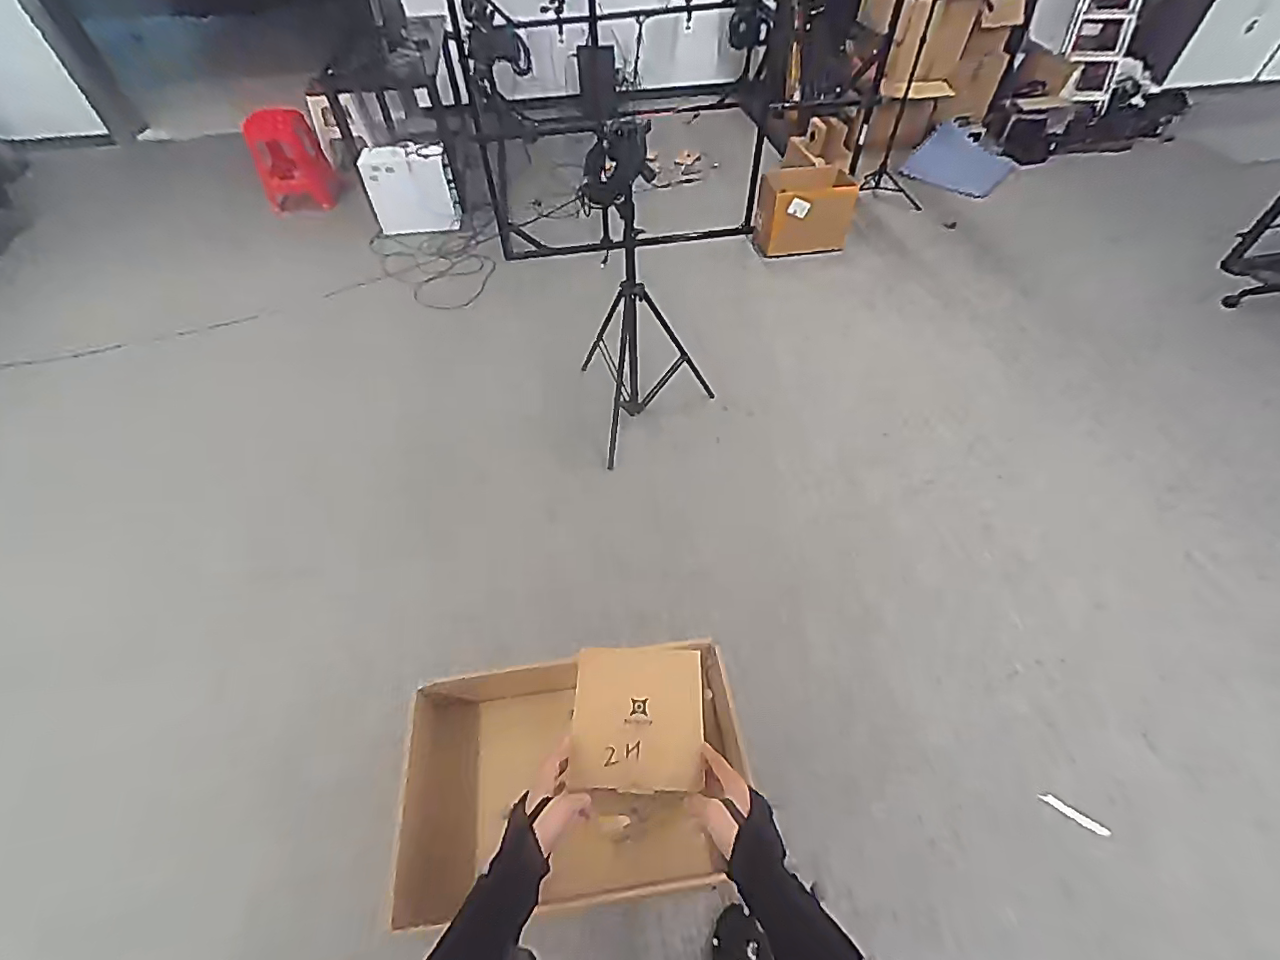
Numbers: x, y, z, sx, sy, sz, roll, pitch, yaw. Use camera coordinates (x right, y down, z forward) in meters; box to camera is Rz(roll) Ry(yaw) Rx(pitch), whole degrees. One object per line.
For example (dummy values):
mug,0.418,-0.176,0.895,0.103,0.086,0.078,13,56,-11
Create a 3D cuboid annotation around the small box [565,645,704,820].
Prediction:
small box,-0.004,0.346,0.743,0.168,0.176,0.179,2,50,2
